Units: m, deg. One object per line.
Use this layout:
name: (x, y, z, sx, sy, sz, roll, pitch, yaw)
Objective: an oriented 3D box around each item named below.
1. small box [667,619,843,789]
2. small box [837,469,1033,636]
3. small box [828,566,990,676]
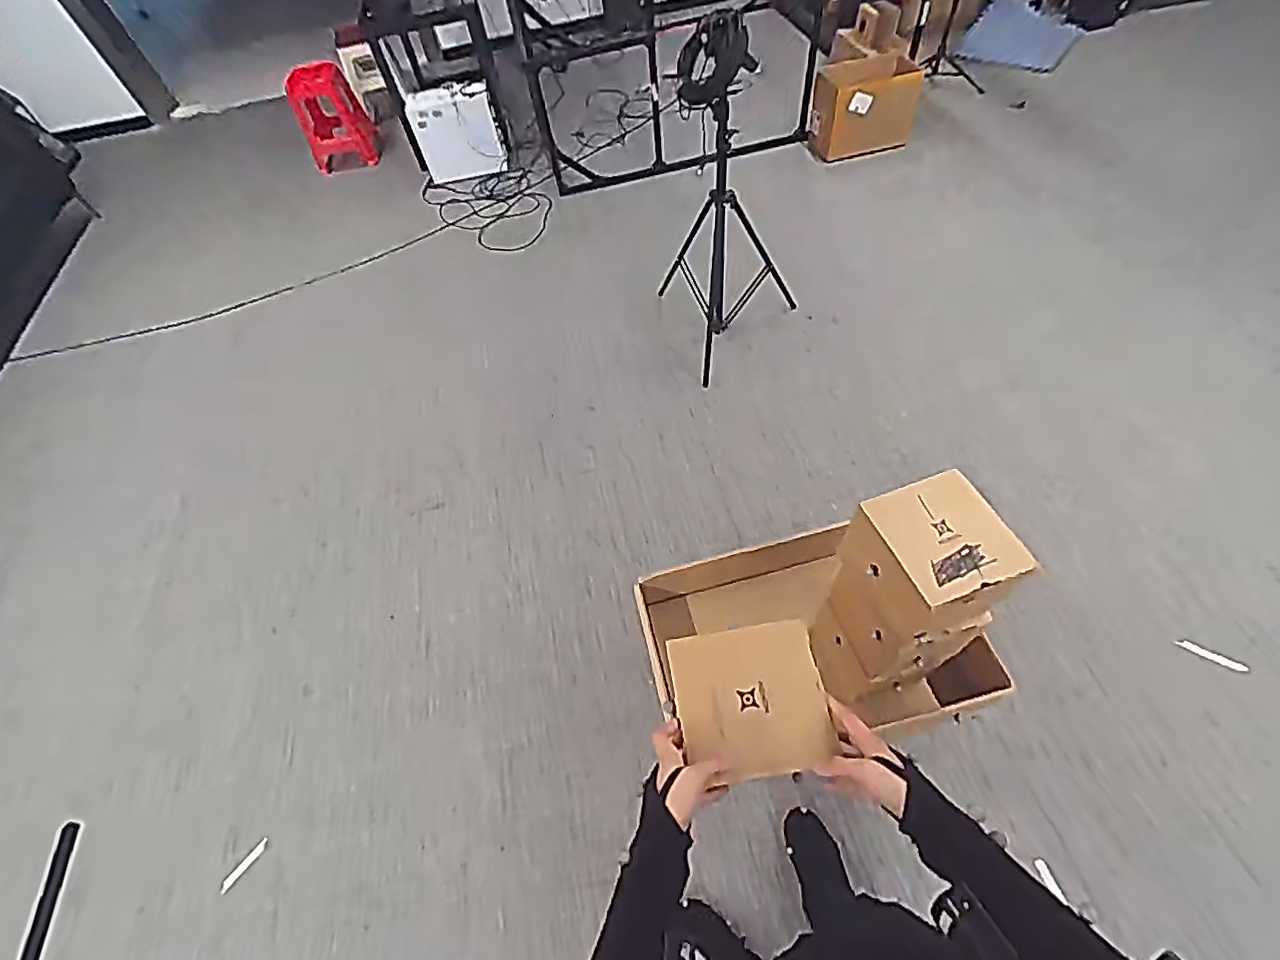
small box: (0.133, 0.291, 0.702, 0.179, 0.176, 0.168, -9, 62, -1)
small box: (0.424, 0.118, 0.815, 0.168, 0.176, 0.179, -19, 56, -6)
small box: (0.451, 0.217, 0.945, 0.168, 0.176, 0.179, -17, 56, -4)
